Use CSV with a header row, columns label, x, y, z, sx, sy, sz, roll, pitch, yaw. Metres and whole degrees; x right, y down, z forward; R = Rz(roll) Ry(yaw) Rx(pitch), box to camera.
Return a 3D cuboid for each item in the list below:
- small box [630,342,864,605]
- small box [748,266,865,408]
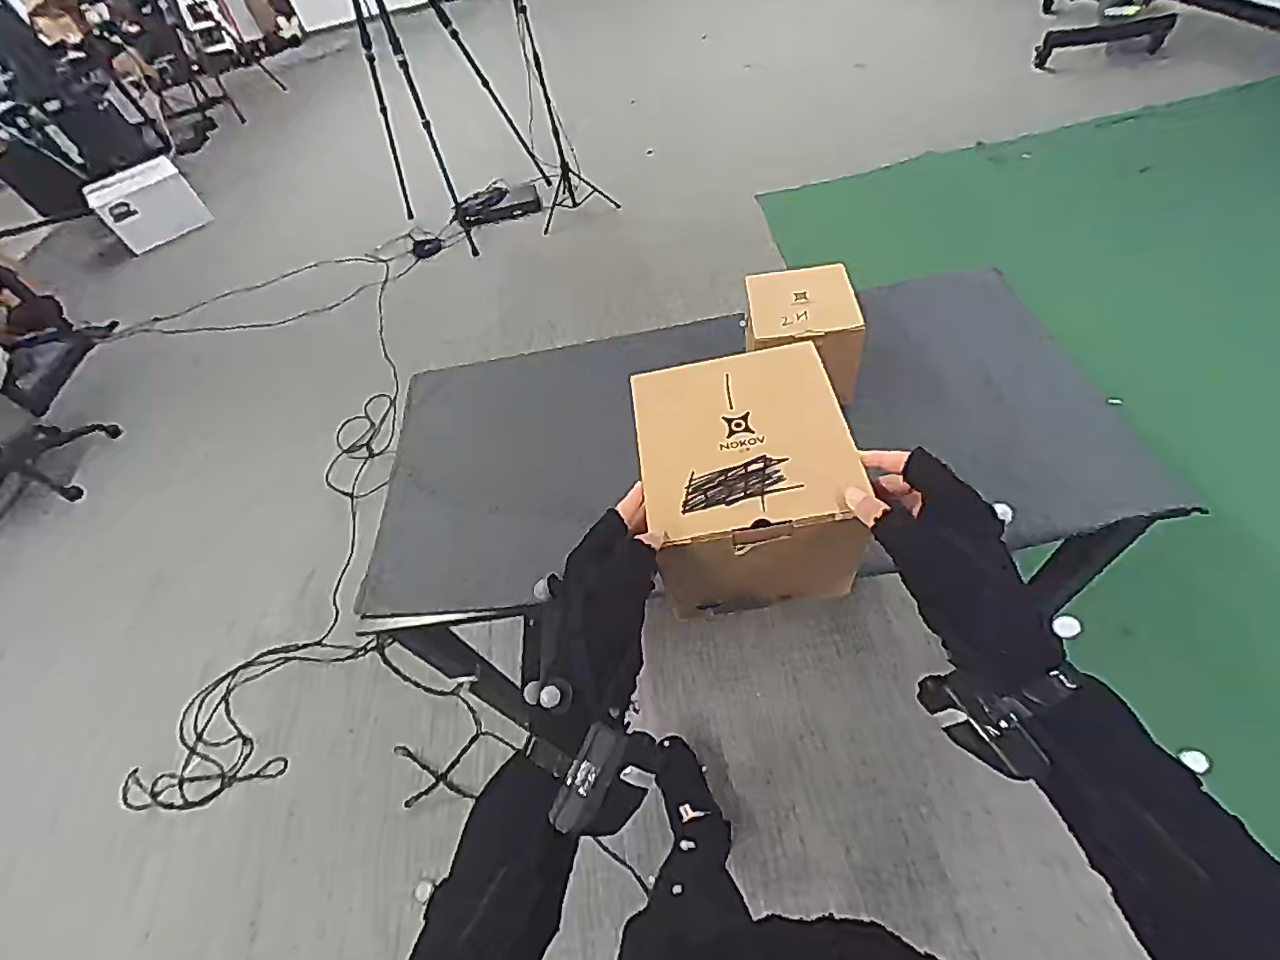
label,x,y,z,sx,sy,sz,roll,pitch,yaw
small box,0.092,0.006,0.504,0.168,0.176,0.179,-10,55,6
small box,0.276,-0.240,0.936,0.168,0.176,0.179,-5,53,9
